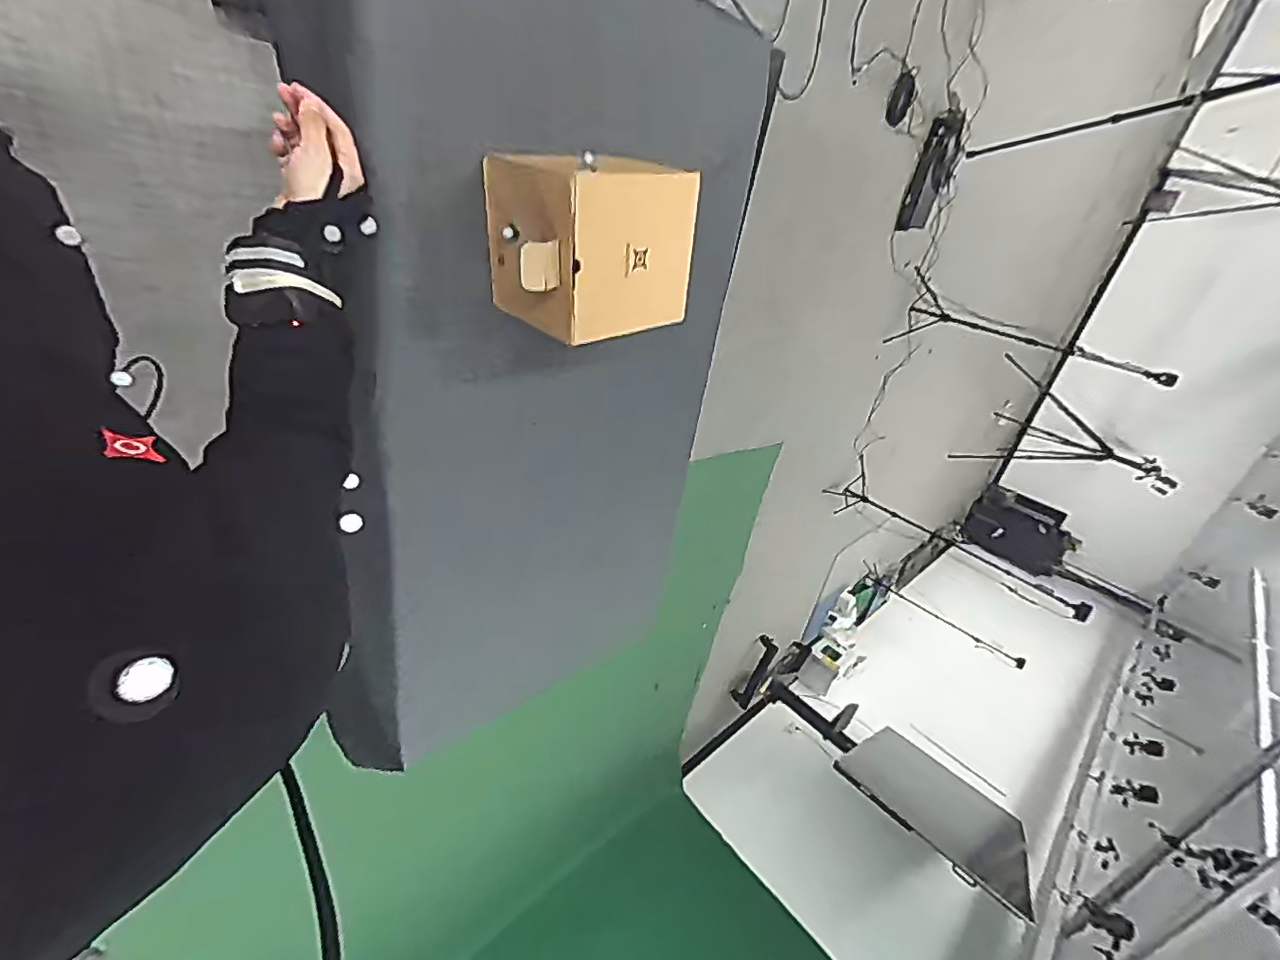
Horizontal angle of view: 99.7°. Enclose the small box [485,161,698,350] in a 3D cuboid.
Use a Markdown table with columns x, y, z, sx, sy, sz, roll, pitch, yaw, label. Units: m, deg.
| x | y | z | sx | sy | sz | roll | pitch | yaw | label |
| --- | --- | --- | --- | --- | --- | --- | --- | --- | --- |
| -0.060 | -0.273 | 0.639 | 0.179 | 0.176 | 0.168 | -24 | 134 | -36 | small box |
